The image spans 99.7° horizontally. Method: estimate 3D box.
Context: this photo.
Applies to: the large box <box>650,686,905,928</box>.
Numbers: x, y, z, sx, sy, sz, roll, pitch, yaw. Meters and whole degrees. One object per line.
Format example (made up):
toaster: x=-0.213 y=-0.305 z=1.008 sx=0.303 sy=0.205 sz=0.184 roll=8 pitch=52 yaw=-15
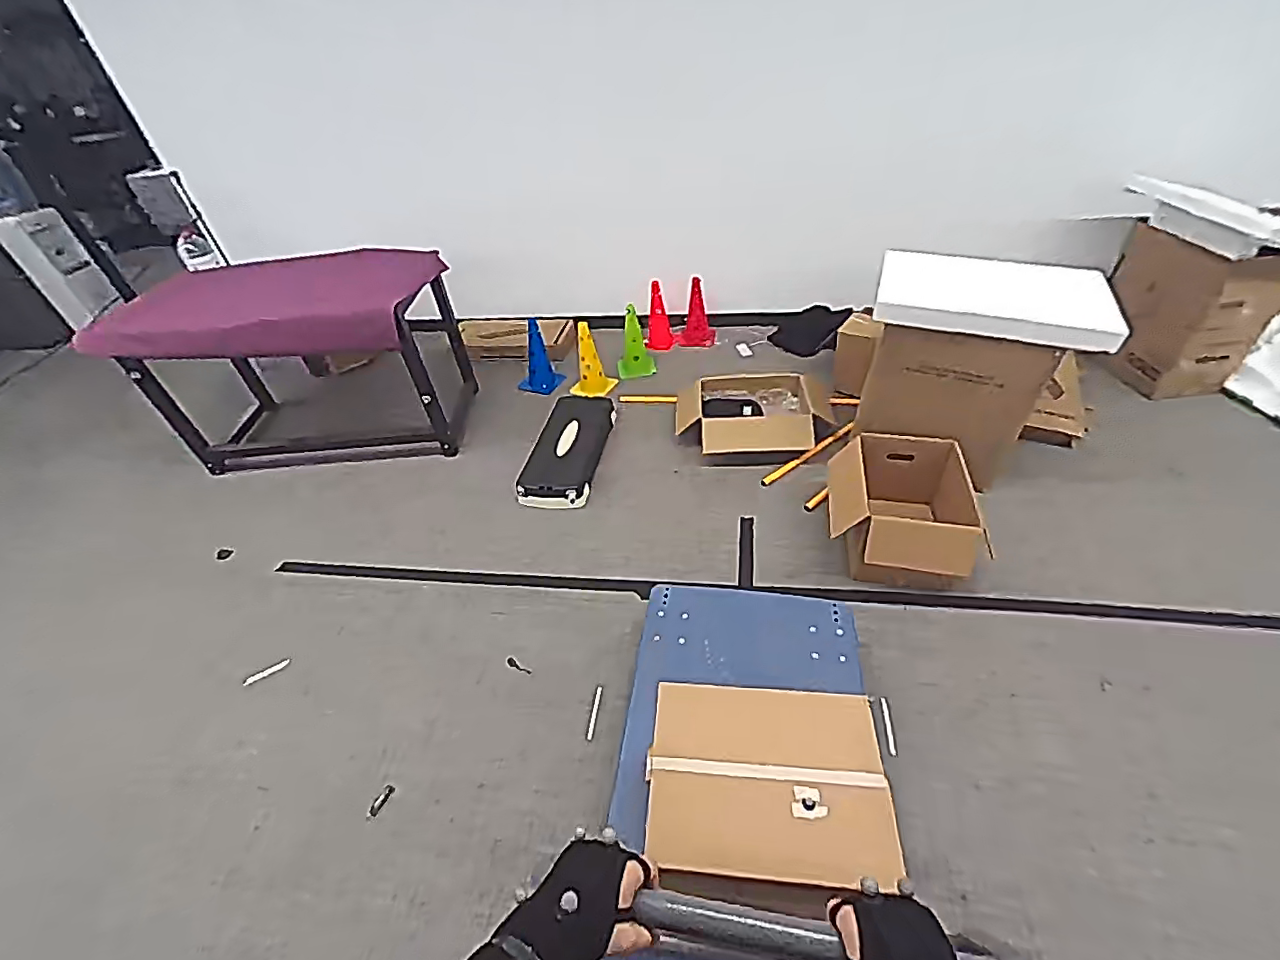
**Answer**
large box: x=0.233 y=0.633 z=1.056 sx=0.408 sy=0.320 sz=0.320 roll=1 pitch=42 yaw=7
